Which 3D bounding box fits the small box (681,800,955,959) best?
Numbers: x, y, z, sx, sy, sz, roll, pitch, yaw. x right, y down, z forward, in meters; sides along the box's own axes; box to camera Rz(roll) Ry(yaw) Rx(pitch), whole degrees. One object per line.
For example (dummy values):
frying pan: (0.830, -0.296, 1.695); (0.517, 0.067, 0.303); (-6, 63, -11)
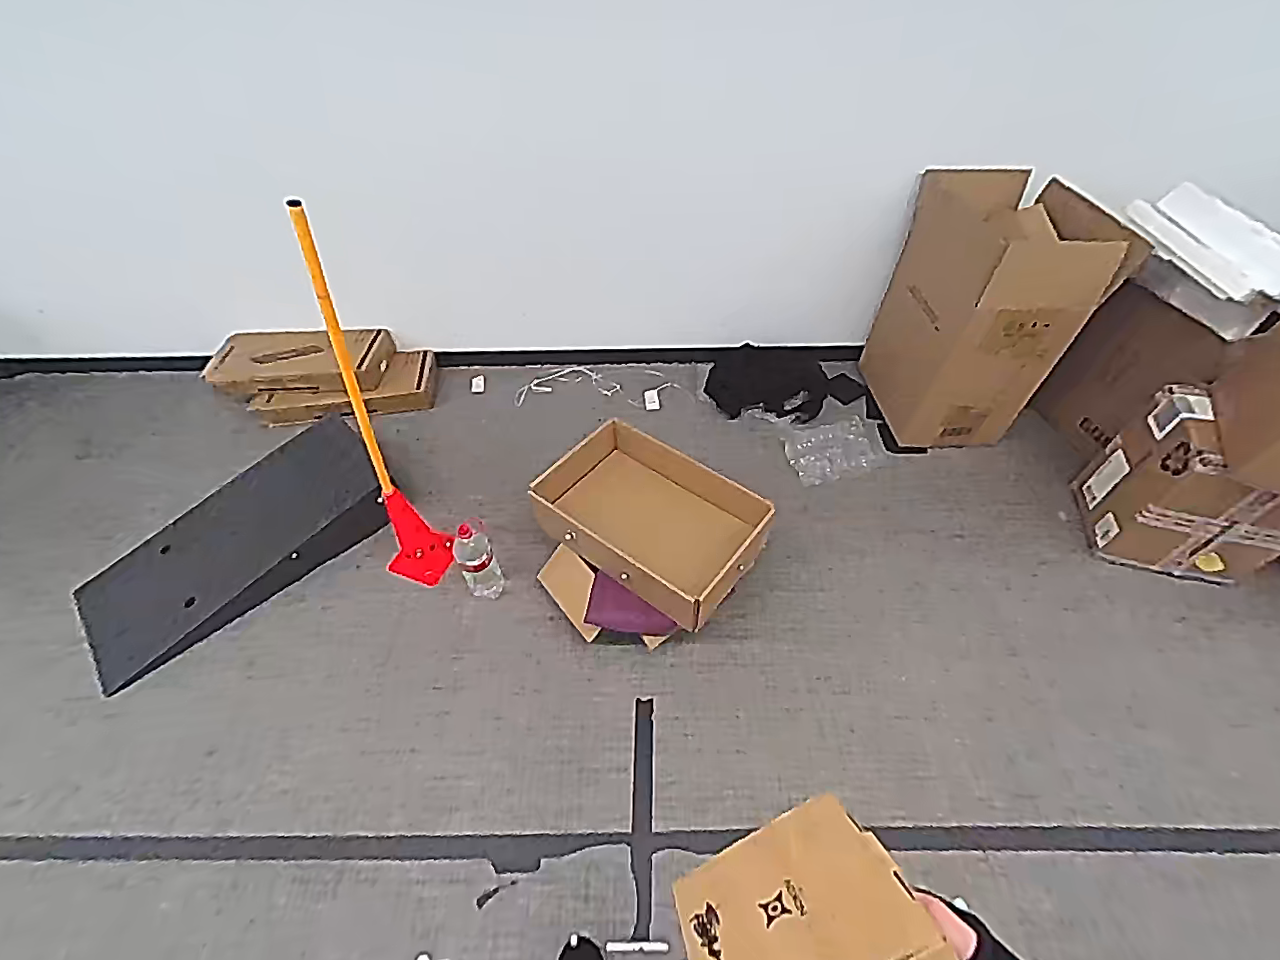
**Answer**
small box: (0.158, 0.423, 0.447); (0.179, 0.168, 0.176); (-26, 92, -6)
